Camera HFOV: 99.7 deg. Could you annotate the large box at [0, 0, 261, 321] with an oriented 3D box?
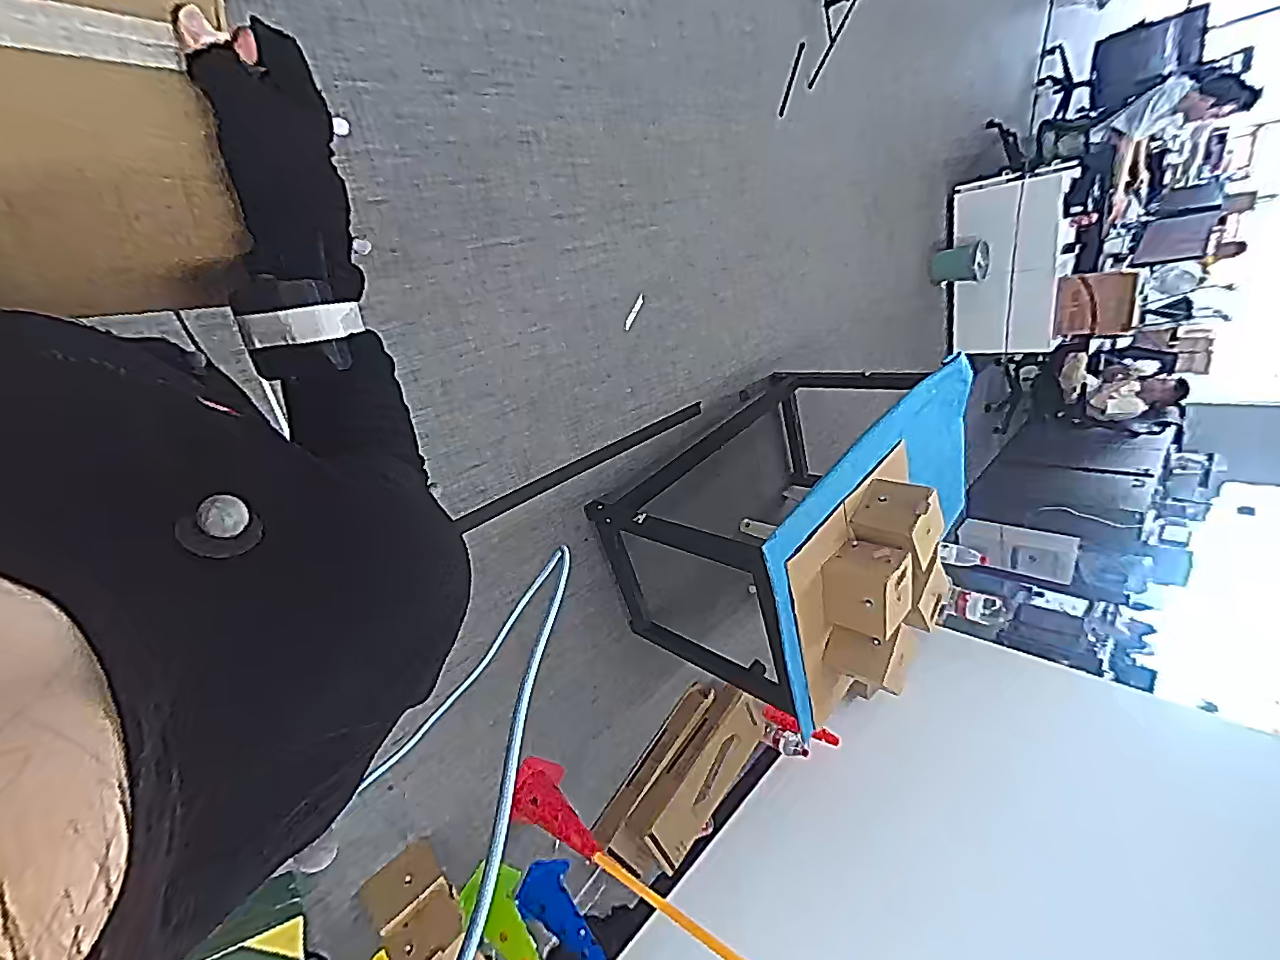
[{"bbox_3d":[-0.479,-0.282,0.248,0.408,0.320,0.320,-23,149,-40],"label":"large box"}]
